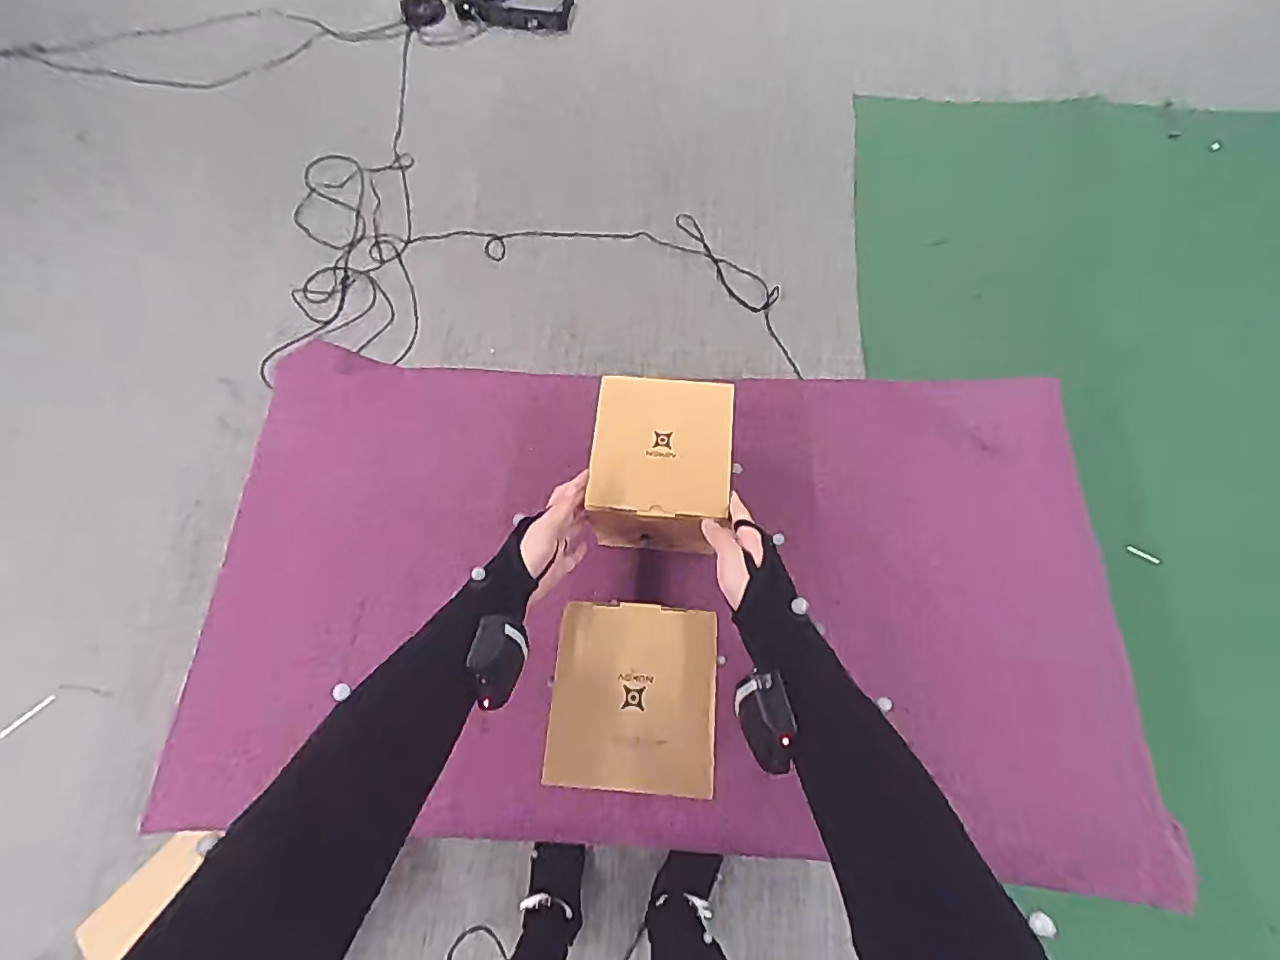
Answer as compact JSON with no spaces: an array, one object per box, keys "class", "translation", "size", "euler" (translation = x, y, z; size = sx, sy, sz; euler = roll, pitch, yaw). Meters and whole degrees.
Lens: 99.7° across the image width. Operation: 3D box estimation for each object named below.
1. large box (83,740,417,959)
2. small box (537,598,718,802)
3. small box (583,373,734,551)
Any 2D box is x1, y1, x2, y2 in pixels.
[{"class":"large box","translation":[-0.765,0.824,1.124],"size":[0.320,0.320,0.408],"euler":[41,75,14]},{"class":"small box","translation":[-0.006,0.240,0.606],"size":[0.168,0.176,0.179],"euler":[3,69,4]},{"class":"small box","translation":[0.026,-0.017,0.702],"size":[0.168,0.176,0.179],"euler":[4,71,3]}]
